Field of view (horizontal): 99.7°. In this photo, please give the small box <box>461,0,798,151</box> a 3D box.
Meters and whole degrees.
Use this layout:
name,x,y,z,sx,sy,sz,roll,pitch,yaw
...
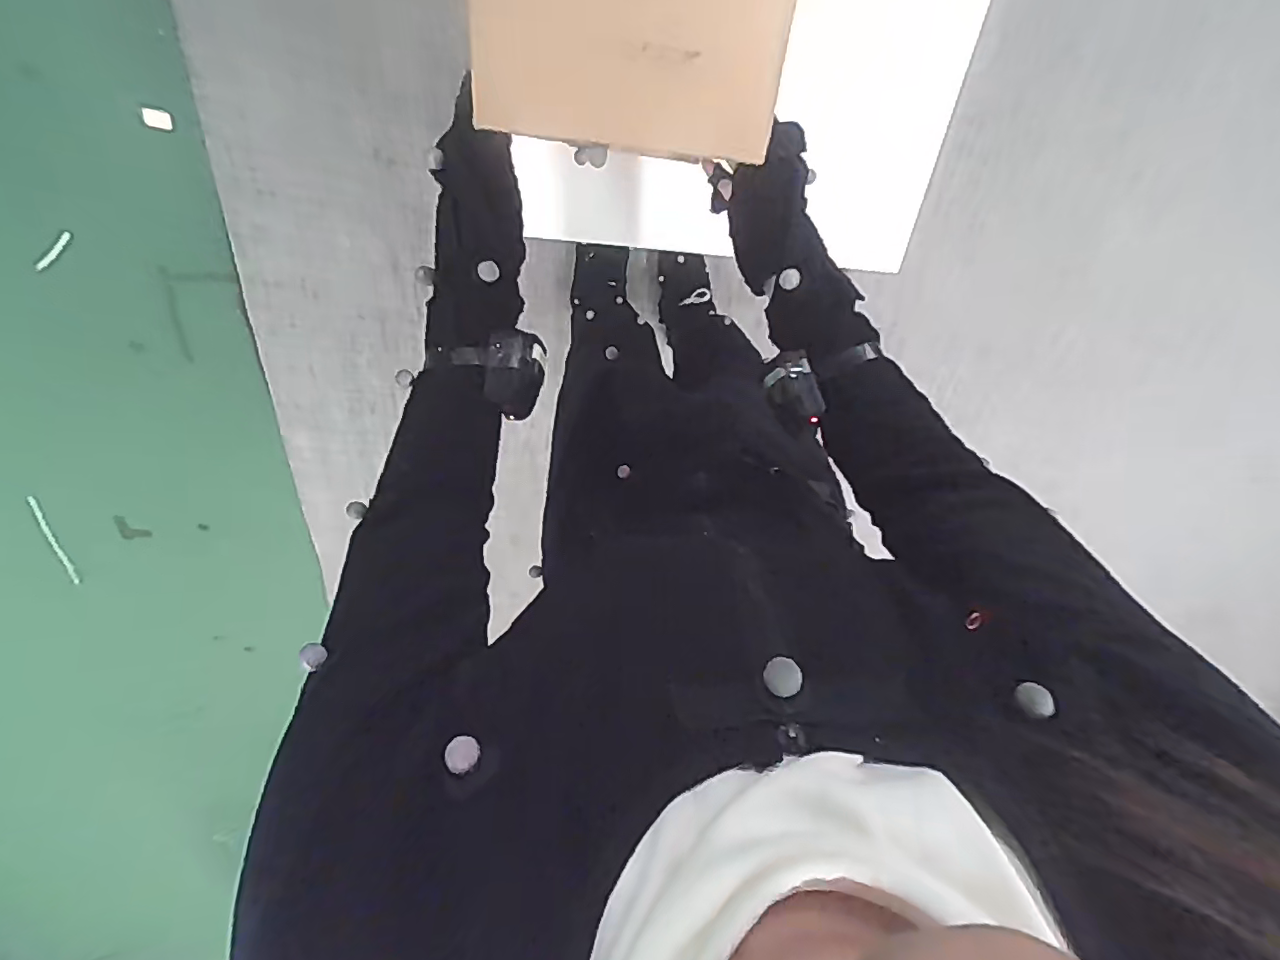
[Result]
name,x,y,z,sx,sy,sz,roll,pitch,yaw
small box,-0.007,-0.305,0.312,0.168,0.176,0.179,3,123,-8

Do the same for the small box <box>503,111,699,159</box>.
name,x,y,z,sx,sy,sz,roll,pitch,yaw
small box,-0.025,-0.396,0.468,0.168,0.176,0.179,5,123,-9
